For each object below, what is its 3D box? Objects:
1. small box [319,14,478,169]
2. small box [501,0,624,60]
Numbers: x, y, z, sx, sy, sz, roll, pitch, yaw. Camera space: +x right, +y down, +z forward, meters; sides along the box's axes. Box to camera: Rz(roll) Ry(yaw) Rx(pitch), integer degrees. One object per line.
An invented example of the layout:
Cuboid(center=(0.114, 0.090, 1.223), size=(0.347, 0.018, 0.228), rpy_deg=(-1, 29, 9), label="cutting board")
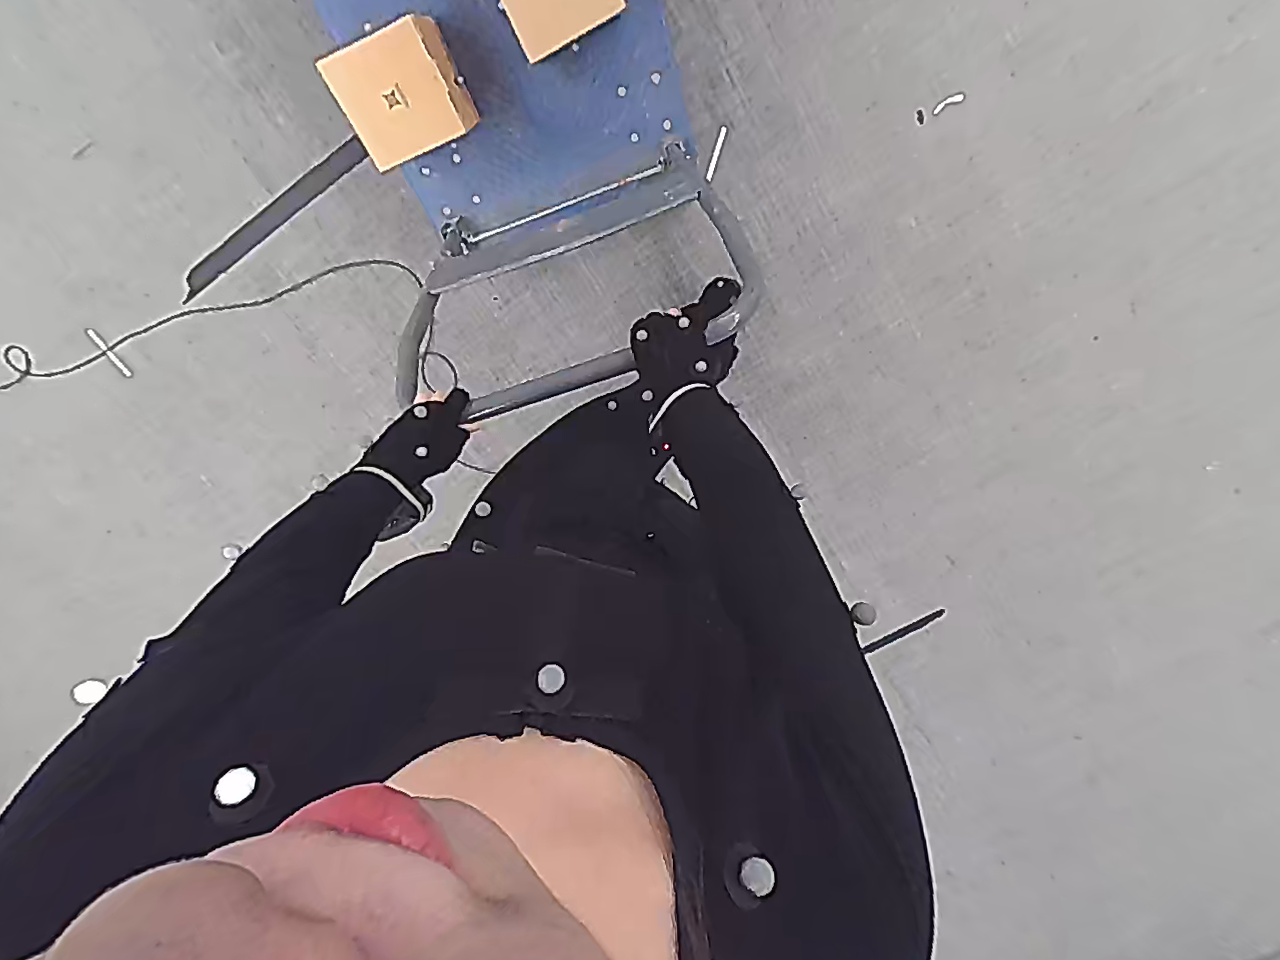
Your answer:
Cuboid(center=(-0.408, -0.677, 0.950), size=(0.179, 0.176, 0.168), rpy_deg=(-20, 128, 8), label="small box")
Cuboid(center=(-0.137, -0.810, 0.868), size=(0.179, 0.176, 0.168), rpy_deg=(-22, 128, 12), label="small box")
